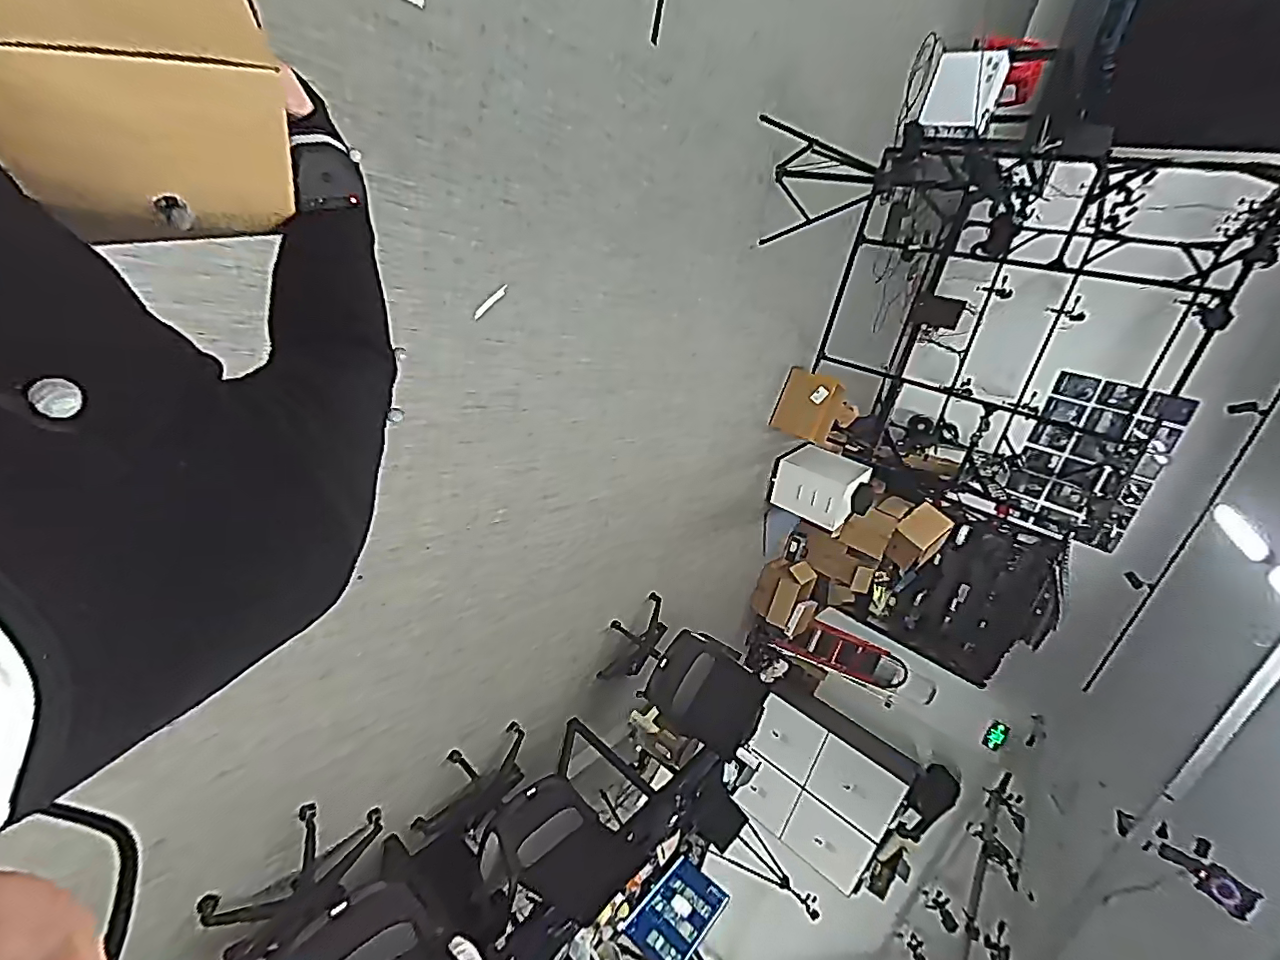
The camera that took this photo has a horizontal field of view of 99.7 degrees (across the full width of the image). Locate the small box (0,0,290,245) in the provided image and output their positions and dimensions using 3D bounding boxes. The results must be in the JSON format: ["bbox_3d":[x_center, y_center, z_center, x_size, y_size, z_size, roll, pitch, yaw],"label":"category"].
[{"bbox_3d":[-0.392,-0.306,0.415,0.179,0.168,0.176,-22,174,-33],"label":"small box"}]
